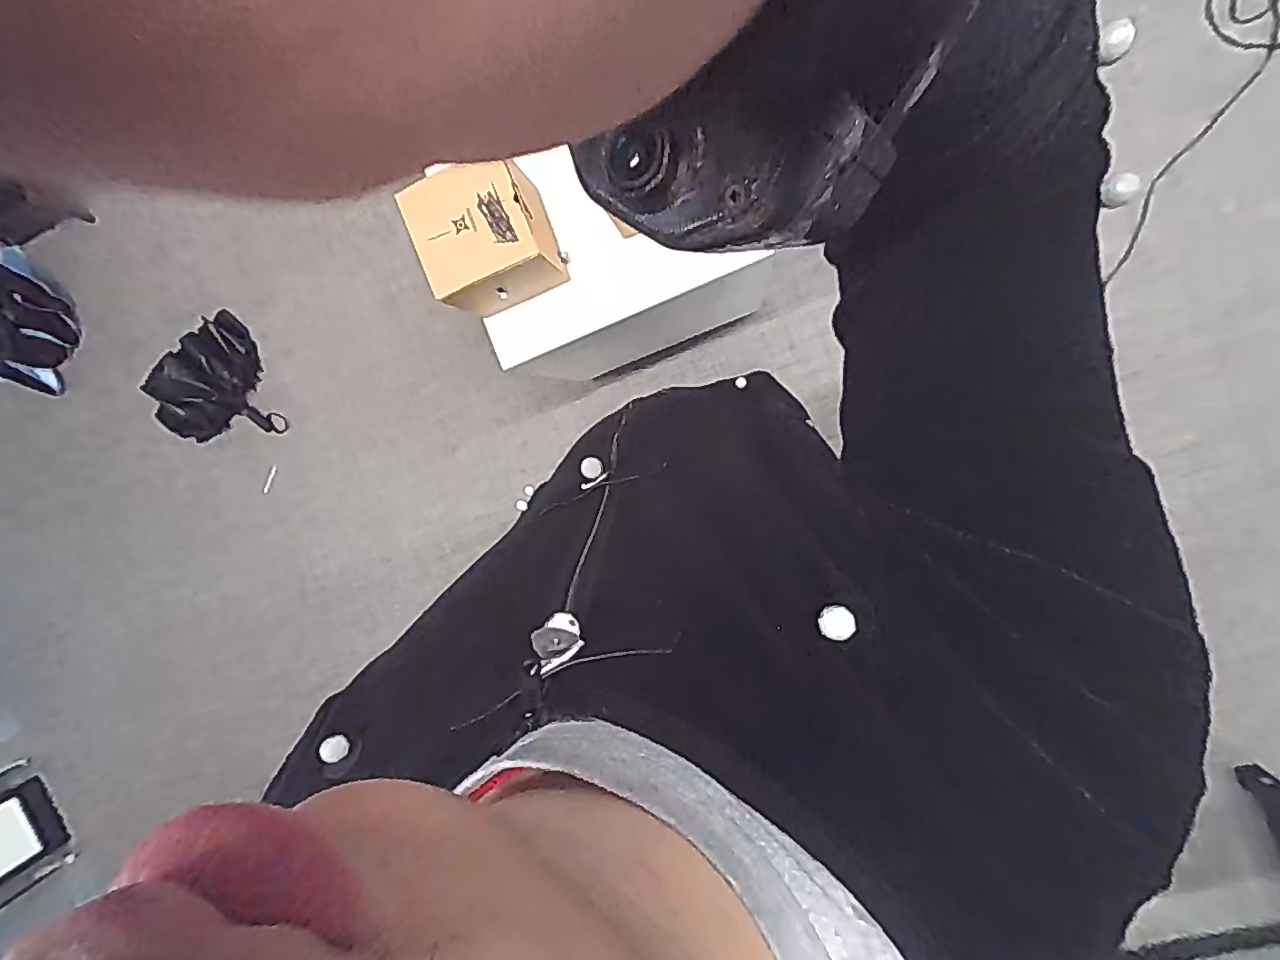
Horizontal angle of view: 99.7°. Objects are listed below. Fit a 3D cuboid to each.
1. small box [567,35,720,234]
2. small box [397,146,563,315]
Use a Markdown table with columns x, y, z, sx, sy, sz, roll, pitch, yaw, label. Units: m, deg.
| x | y | z | sx | sy | sz | roll | pitch | yaw | label |
| --- | --- | --- | --- | --- | --- | --- | --- | --- | --- |
| 0.016 | -0.492 | 0.804 | 0.179 | 0.176 | 0.168 | -16 | 97 | 11 | small box |
| -0.238 | -0.381 | 0.860 | 0.179 | 0.176 | 0.168 | -19 | 94 | 12 | small box |
